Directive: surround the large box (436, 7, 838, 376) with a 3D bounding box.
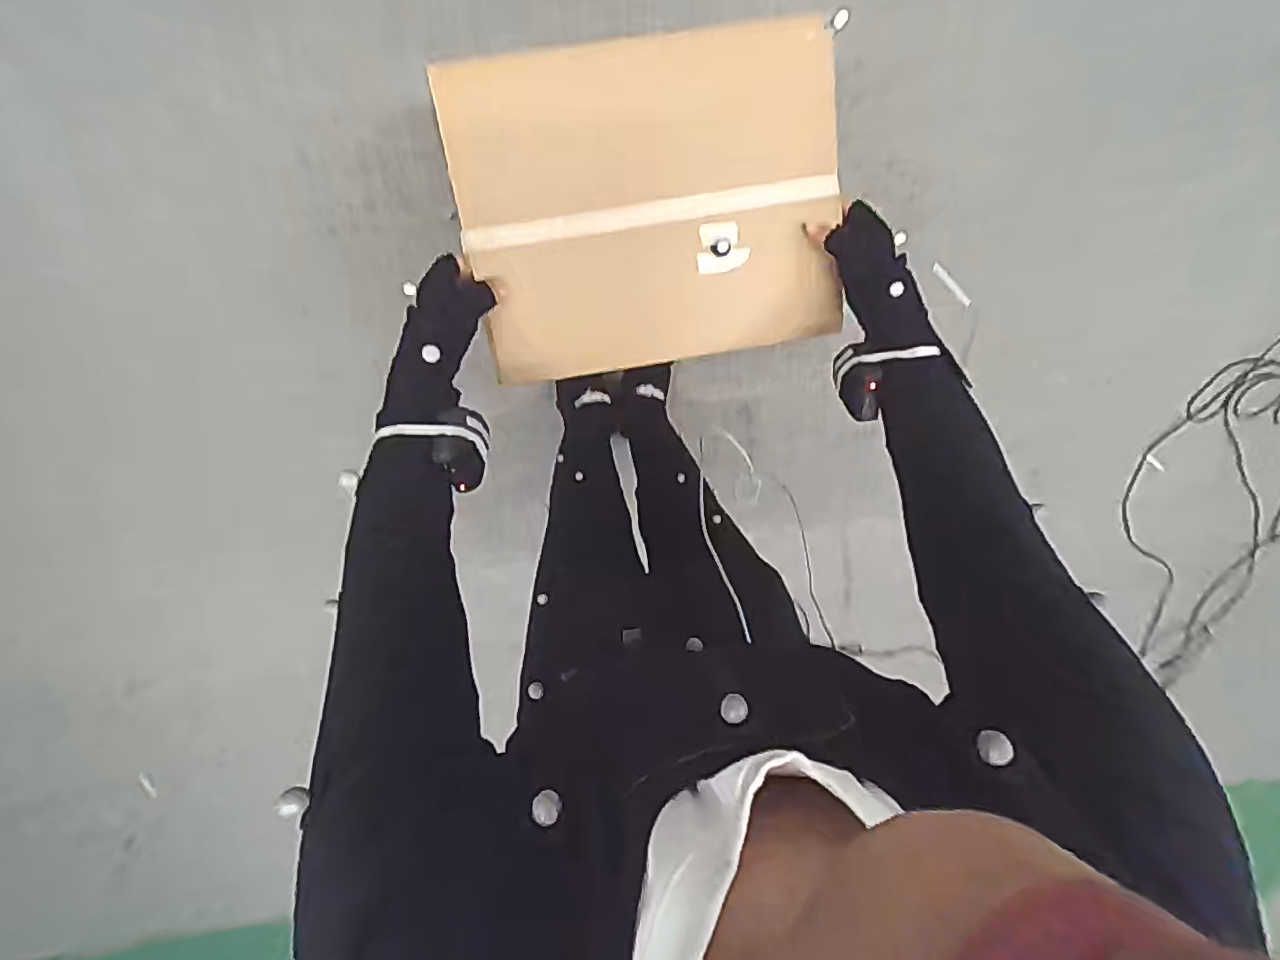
[{"bbox_3d":[0.001,-0.342,0.724,0.408,0.320,0.320,-10,109,-3],"label":"large box"}]
